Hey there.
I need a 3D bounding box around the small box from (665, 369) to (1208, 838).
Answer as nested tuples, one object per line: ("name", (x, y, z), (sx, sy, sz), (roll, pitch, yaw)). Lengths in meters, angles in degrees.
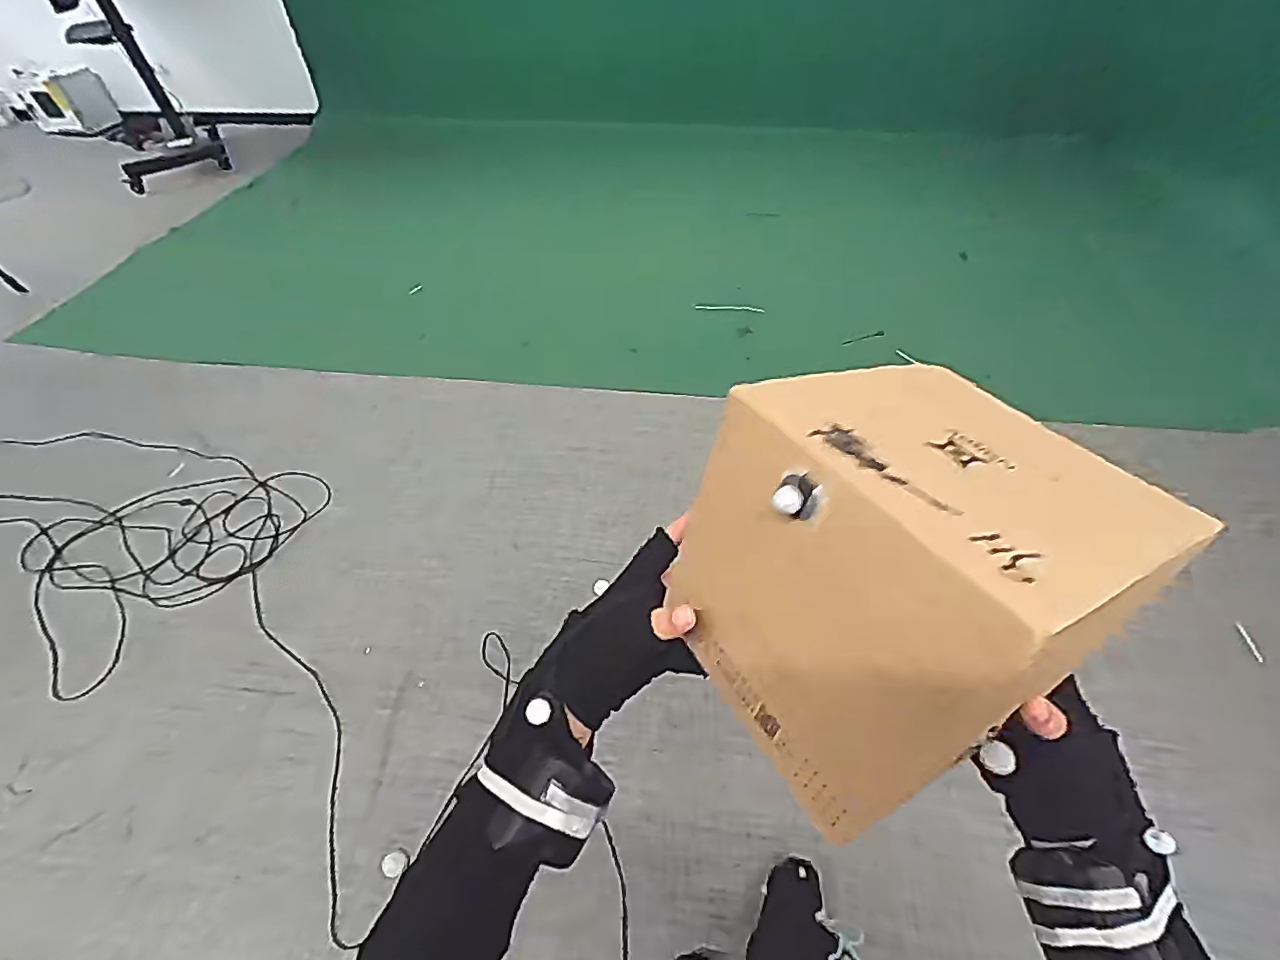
("small box", (0.137, 0.053, 0.305), (0.179, 0.176, 0.168), (-10, 41, -30))
